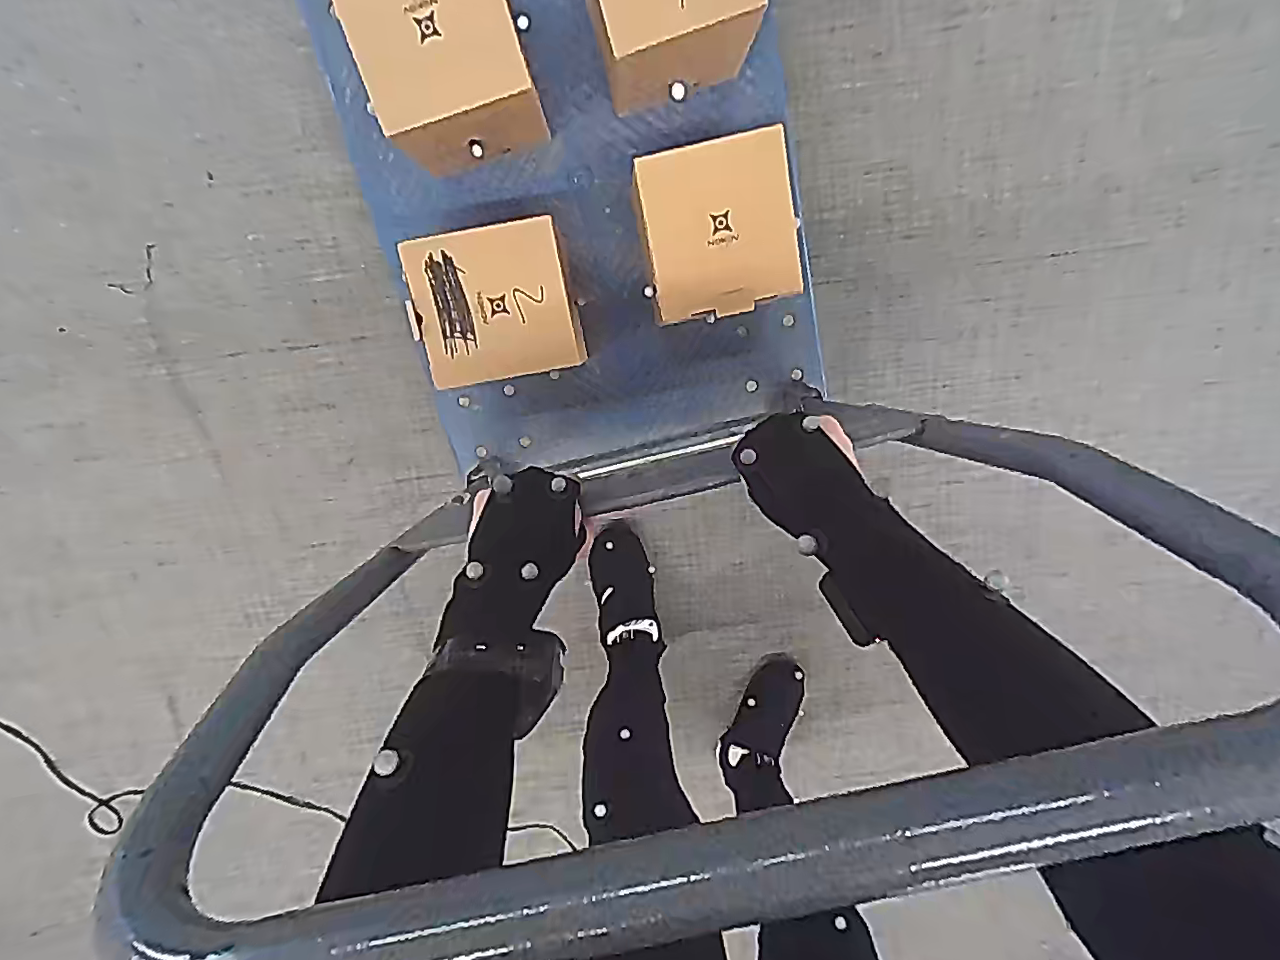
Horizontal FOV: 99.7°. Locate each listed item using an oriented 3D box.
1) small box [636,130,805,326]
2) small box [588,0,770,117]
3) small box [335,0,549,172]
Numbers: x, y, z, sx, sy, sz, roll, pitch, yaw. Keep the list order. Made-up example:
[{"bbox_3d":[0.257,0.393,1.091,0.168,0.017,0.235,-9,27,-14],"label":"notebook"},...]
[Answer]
[{"bbox_3d":[0.090,-0.297,0.676,0.168,0.176,0.179,-12,106,2],"label":"small box"},{"bbox_3d":[0.029,-0.551,0.603,0.168,0.176,0.179,-16,106,4],"label":"small box"},{"bbox_3d":[-0.213,-0.477,0.618,0.168,0.176,0.179,-16,105,2],"label":"small box"}]
